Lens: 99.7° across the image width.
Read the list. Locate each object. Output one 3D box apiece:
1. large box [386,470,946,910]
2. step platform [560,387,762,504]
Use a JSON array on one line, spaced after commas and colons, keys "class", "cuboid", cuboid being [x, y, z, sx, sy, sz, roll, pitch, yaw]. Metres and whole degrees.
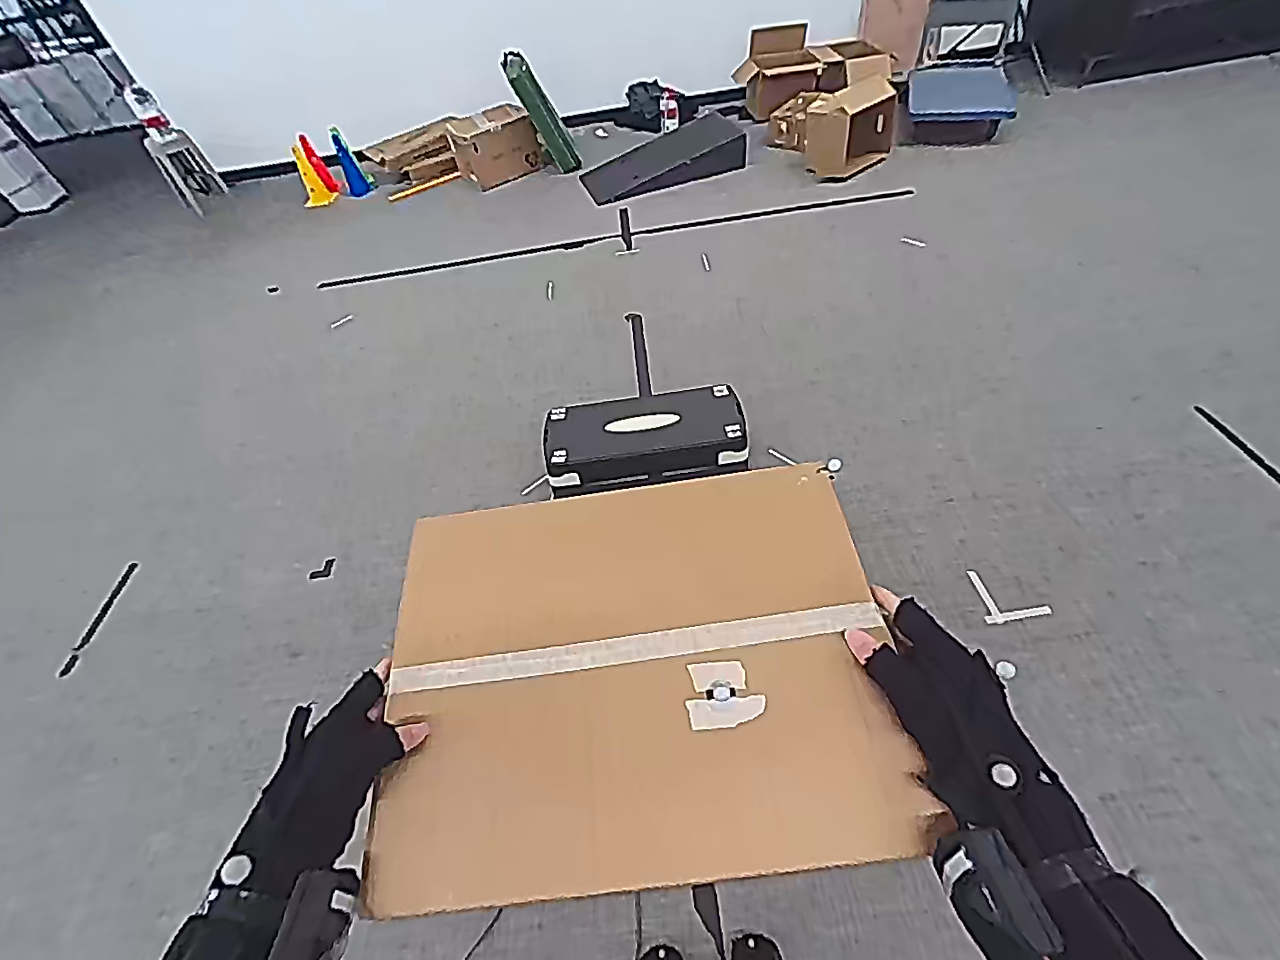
[{"class": "large box", "cuboid": [0.015, 0.228, 0.578, 0.408, 0.320, 0.320, -8, 56, 2]}, {"class": "step platform", "cuboid": [0.067, -0.125, 1.865, 0.684, 0.204, 0.286, -8, 50, 1]}]
